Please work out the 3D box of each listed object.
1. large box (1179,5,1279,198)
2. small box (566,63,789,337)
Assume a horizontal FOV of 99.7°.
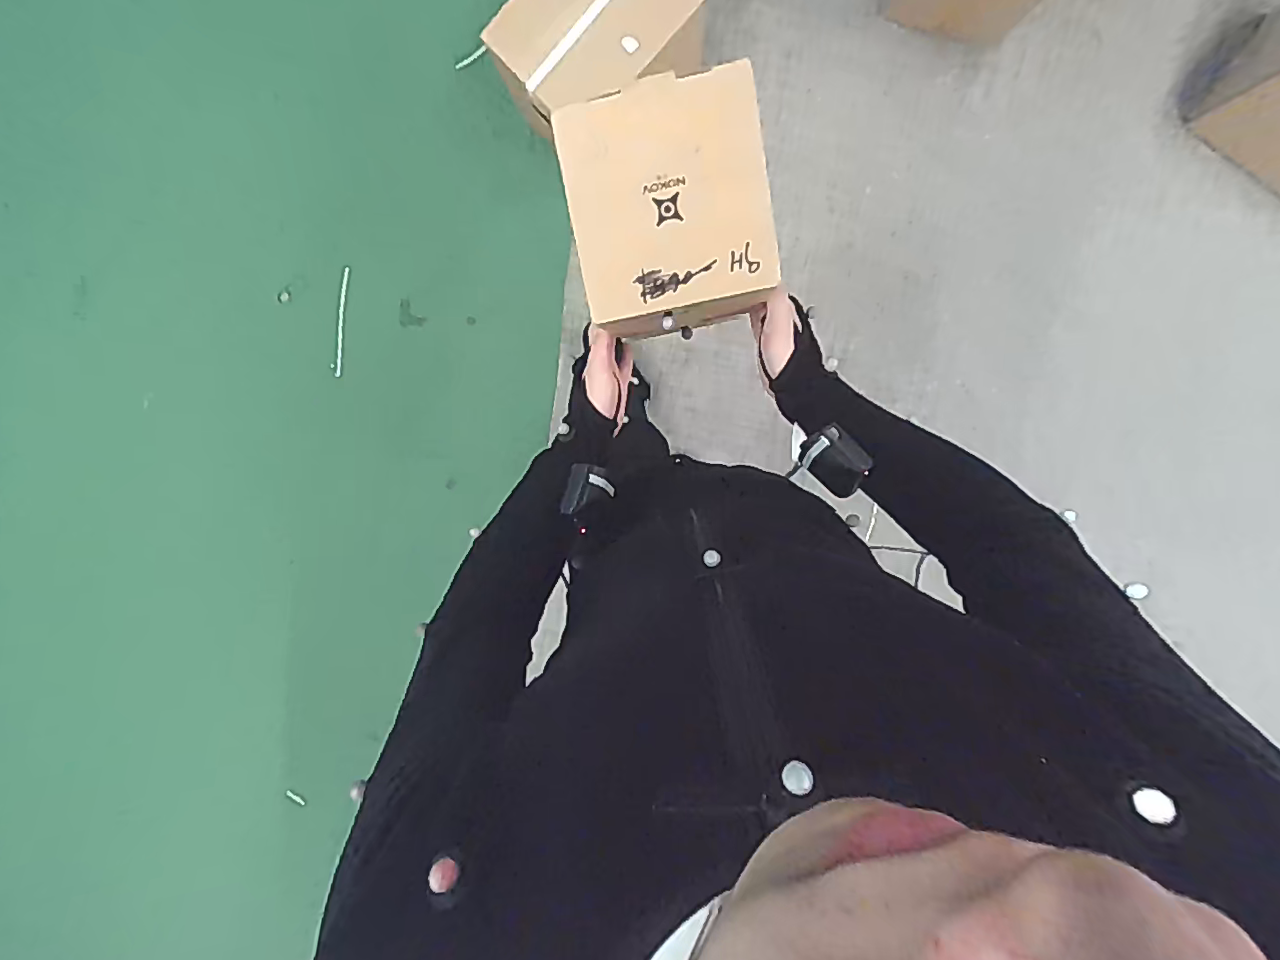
[{"bbox_3d":[1.637,-0.912,1.244,0.408,0.320,0.320,33,99,-2],"label":"large box"},{"bbox_3d":[0.037,-0.246,0.524,0.168,0.176,0.179,-9,99,6],"label":"small box"}]
